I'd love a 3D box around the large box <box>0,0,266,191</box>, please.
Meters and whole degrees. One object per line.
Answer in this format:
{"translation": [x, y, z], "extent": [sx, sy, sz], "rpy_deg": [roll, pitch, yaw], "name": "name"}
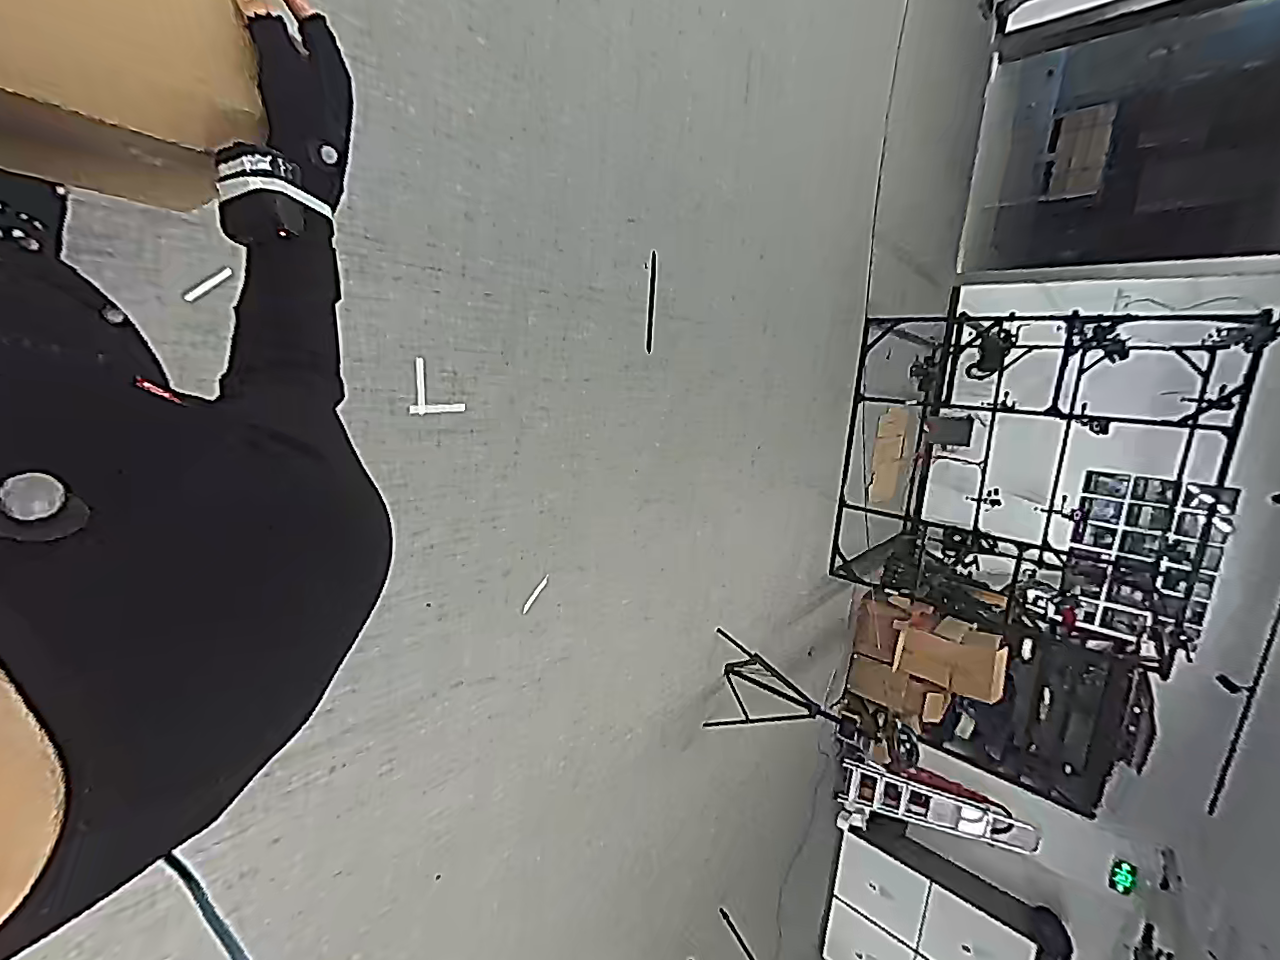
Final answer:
{"translation": [-0.544, -0.441, 0.371], "extent": [0.408, 0.320, 0.320], "rpy_deg": [-6, 108, -50], "name": "large box"}
